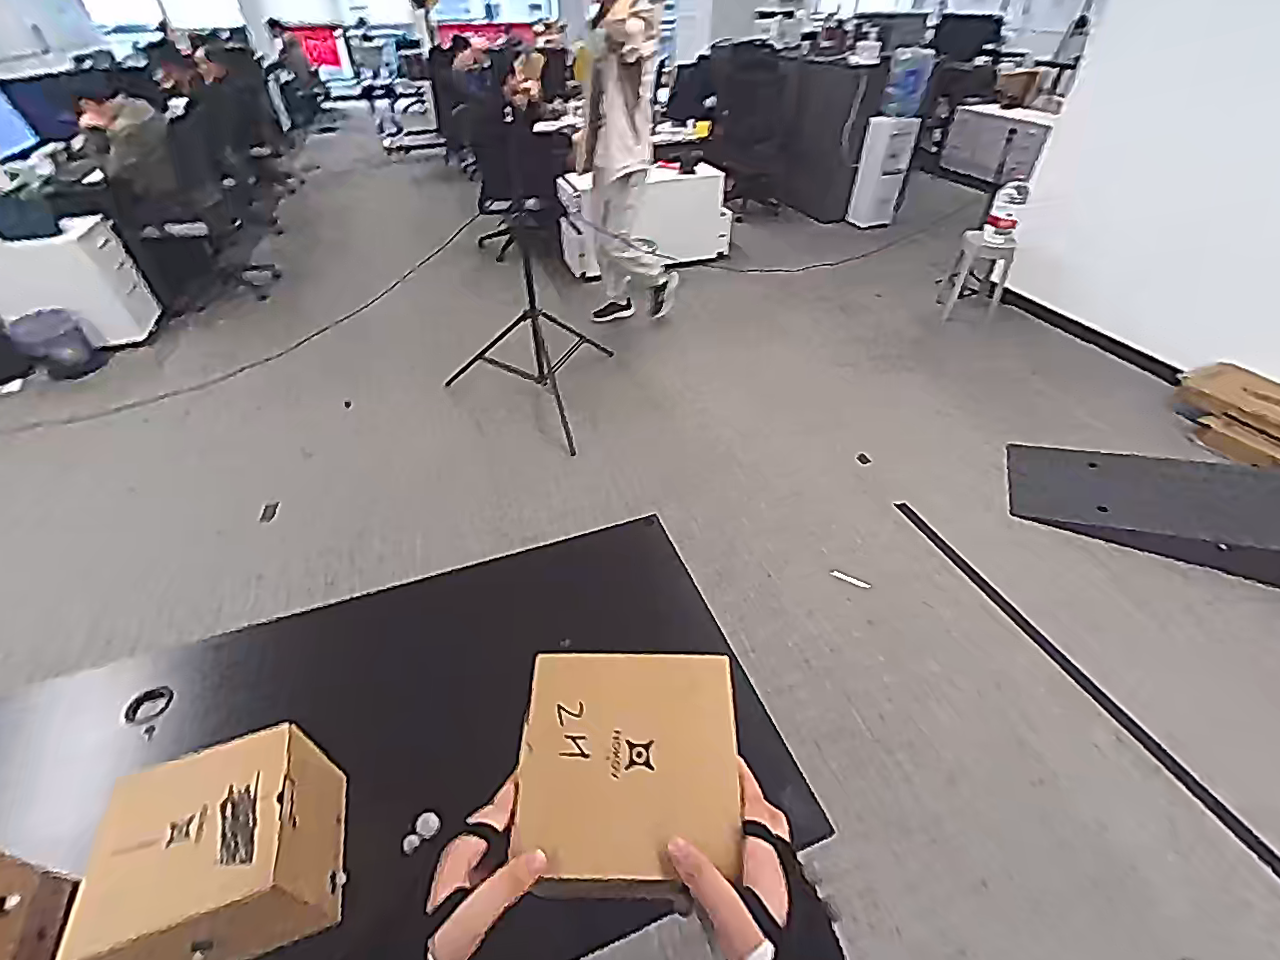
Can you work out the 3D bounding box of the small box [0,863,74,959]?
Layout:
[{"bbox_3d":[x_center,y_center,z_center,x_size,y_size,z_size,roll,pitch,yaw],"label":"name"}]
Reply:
[{"bbox_3d":[-0.720,0.495,0.518,0.179,0.176,0.168,-17,43,-17],"label":"small box"}]

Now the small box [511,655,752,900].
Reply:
[{"bbox_3d":[-0.002,0.275,0.497,0.179,0.176,0.168,0,49,3],"label":"small box"}]

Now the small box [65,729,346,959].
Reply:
[{"bbox_3d":[-0.448,0.416,0.601,0.179,0.176,0.168,-15,43,-14],"label":"small box"}]
